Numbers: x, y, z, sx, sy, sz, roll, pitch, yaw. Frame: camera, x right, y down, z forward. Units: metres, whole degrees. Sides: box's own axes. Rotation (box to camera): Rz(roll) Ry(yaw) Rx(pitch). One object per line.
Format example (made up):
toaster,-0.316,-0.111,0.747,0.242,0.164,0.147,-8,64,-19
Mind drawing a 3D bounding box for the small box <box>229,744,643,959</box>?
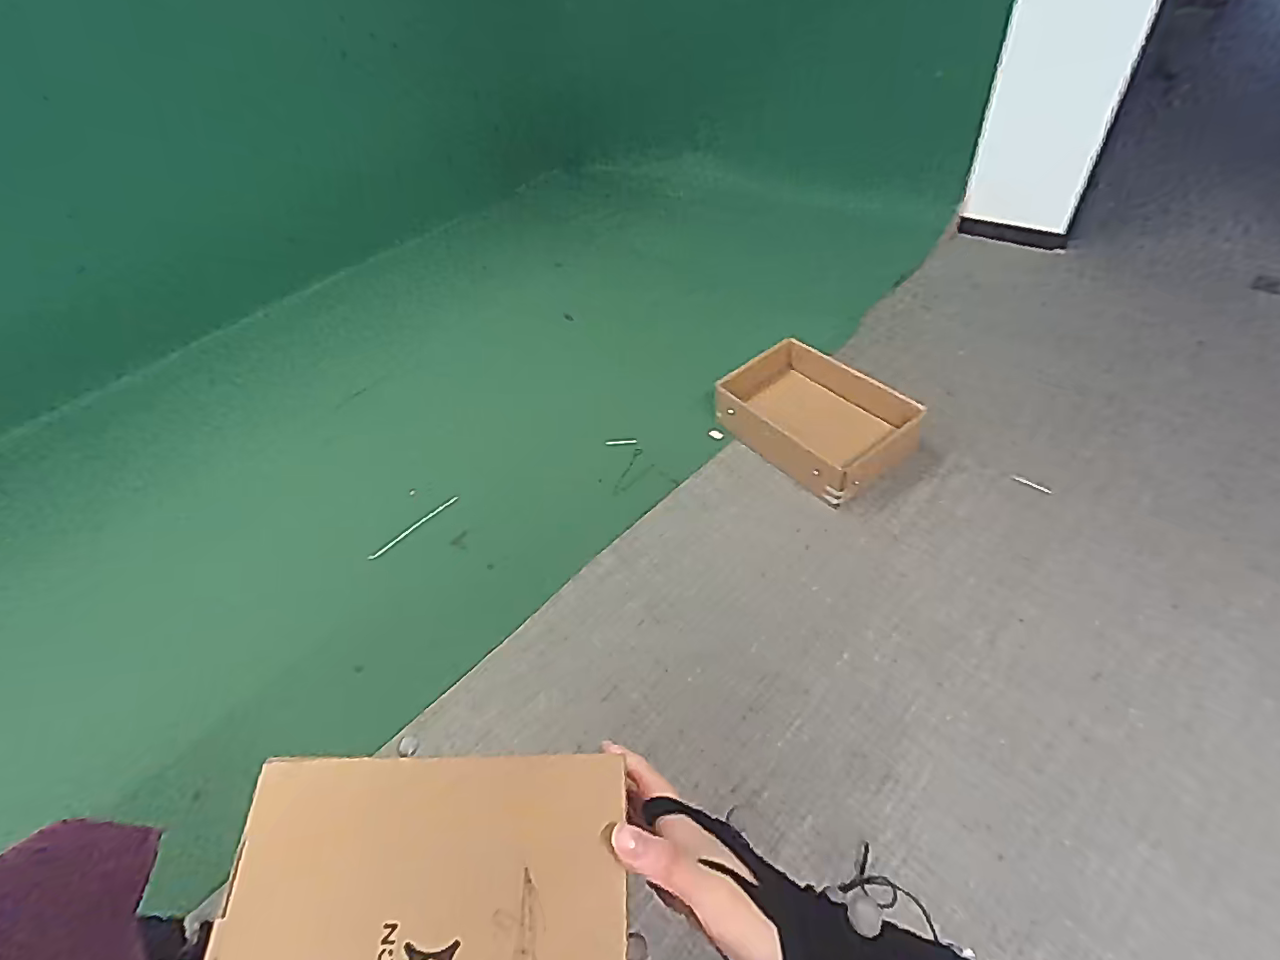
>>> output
small box,-0.091,0.244,0.297,0.179,0.176,0.168,2,60,-4
